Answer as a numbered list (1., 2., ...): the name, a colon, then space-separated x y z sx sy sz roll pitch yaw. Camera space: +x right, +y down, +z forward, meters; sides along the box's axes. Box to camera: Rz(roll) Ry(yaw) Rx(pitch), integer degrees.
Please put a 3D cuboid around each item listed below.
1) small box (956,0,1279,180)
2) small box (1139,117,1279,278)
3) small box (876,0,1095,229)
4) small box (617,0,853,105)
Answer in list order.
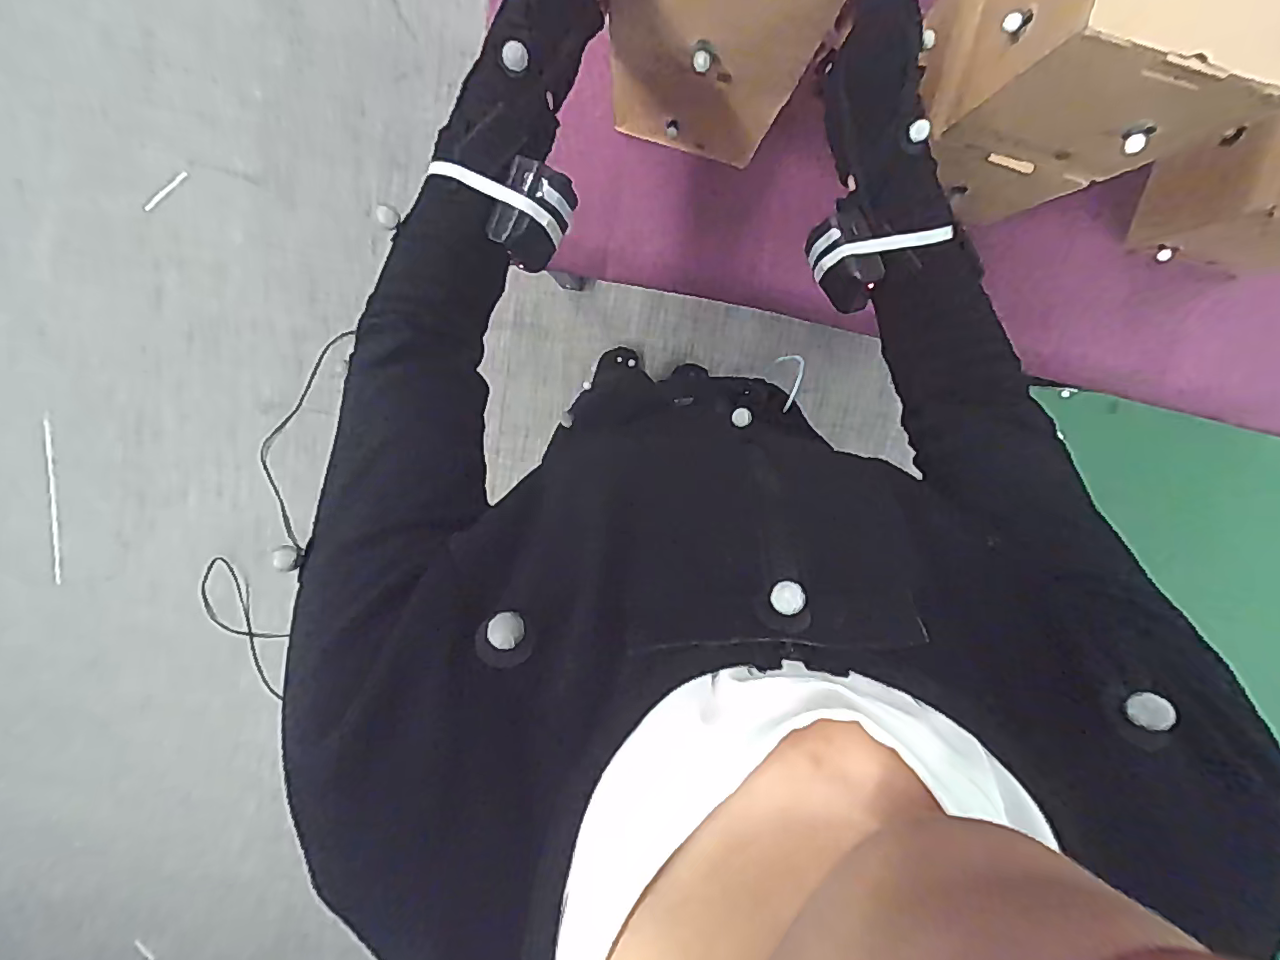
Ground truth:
1. small box: 0.381 -0.358 0.410 0.168 0.176 0.179 14 102 -4
2. small box: 0.708 -0.332 0.583 0.168 0.176 0.179 15 102 -6
3. small box: 0.375 -0.390 0.573 0.168 0.176 0.179 15 101 1
4. small box: 0.077 -0.422 0.392 0.168 0.176 0.179 13 103 -4
